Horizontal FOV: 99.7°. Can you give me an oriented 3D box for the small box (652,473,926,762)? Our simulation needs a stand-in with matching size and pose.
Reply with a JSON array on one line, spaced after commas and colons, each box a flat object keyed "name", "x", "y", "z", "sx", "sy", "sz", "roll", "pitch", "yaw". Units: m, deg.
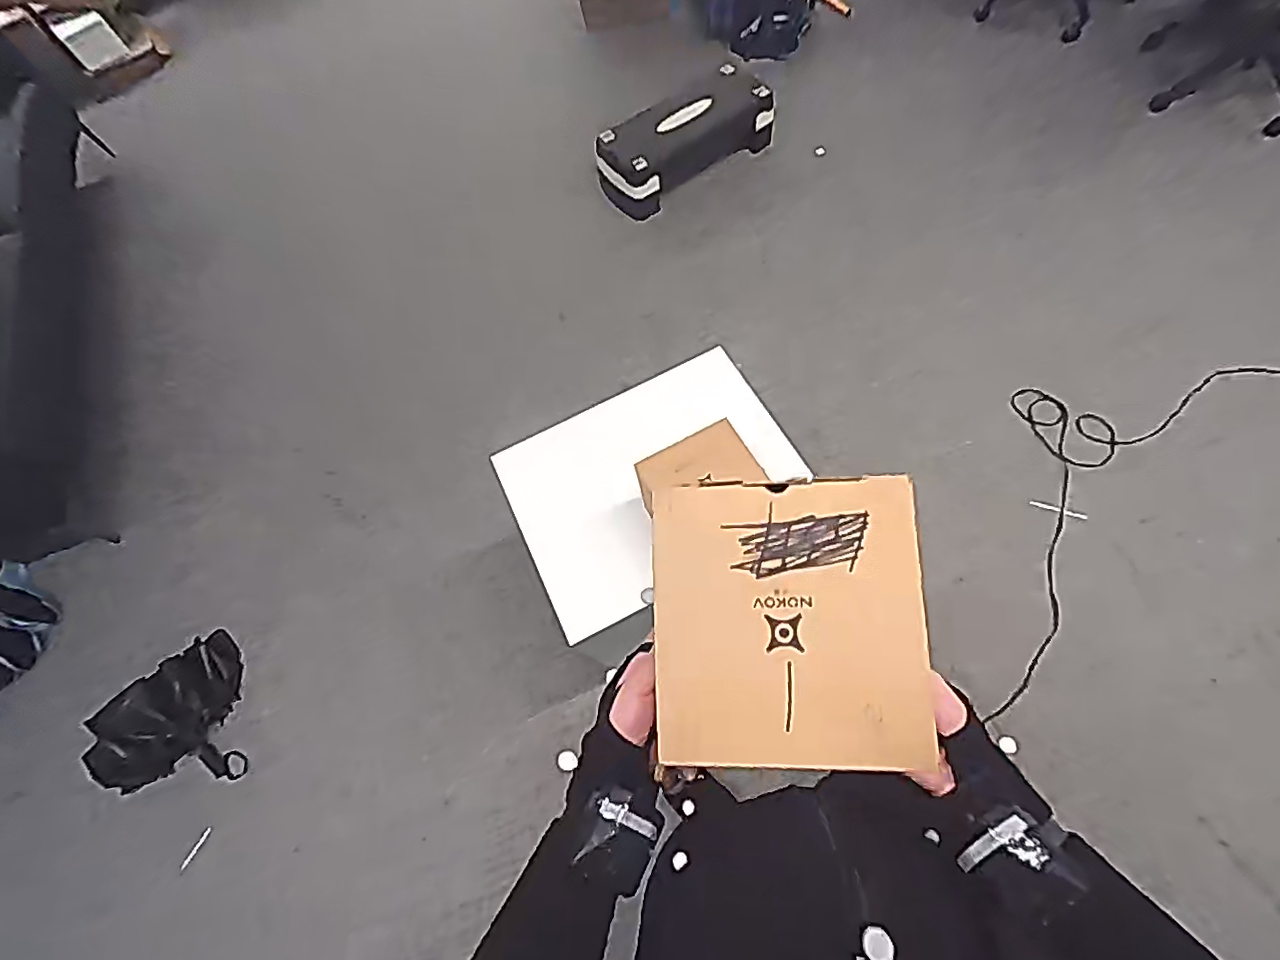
[{"name": "small box", "x": 0.099, "y": 0.096, "z": 0.421, "sx": 0.168, "sy": 0.176, "sz": 0.179, "roll": -1, "pitch": 81, "yaw": 8}]

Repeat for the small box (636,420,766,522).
[{"name": "small box", "x": 0.111, "y": 0.042, "z": 0.872, "sx": 0.168, "sy": 0.176, "sz": 0.179, "roll": -27, "pitch": 64, "yaw": -7}]
